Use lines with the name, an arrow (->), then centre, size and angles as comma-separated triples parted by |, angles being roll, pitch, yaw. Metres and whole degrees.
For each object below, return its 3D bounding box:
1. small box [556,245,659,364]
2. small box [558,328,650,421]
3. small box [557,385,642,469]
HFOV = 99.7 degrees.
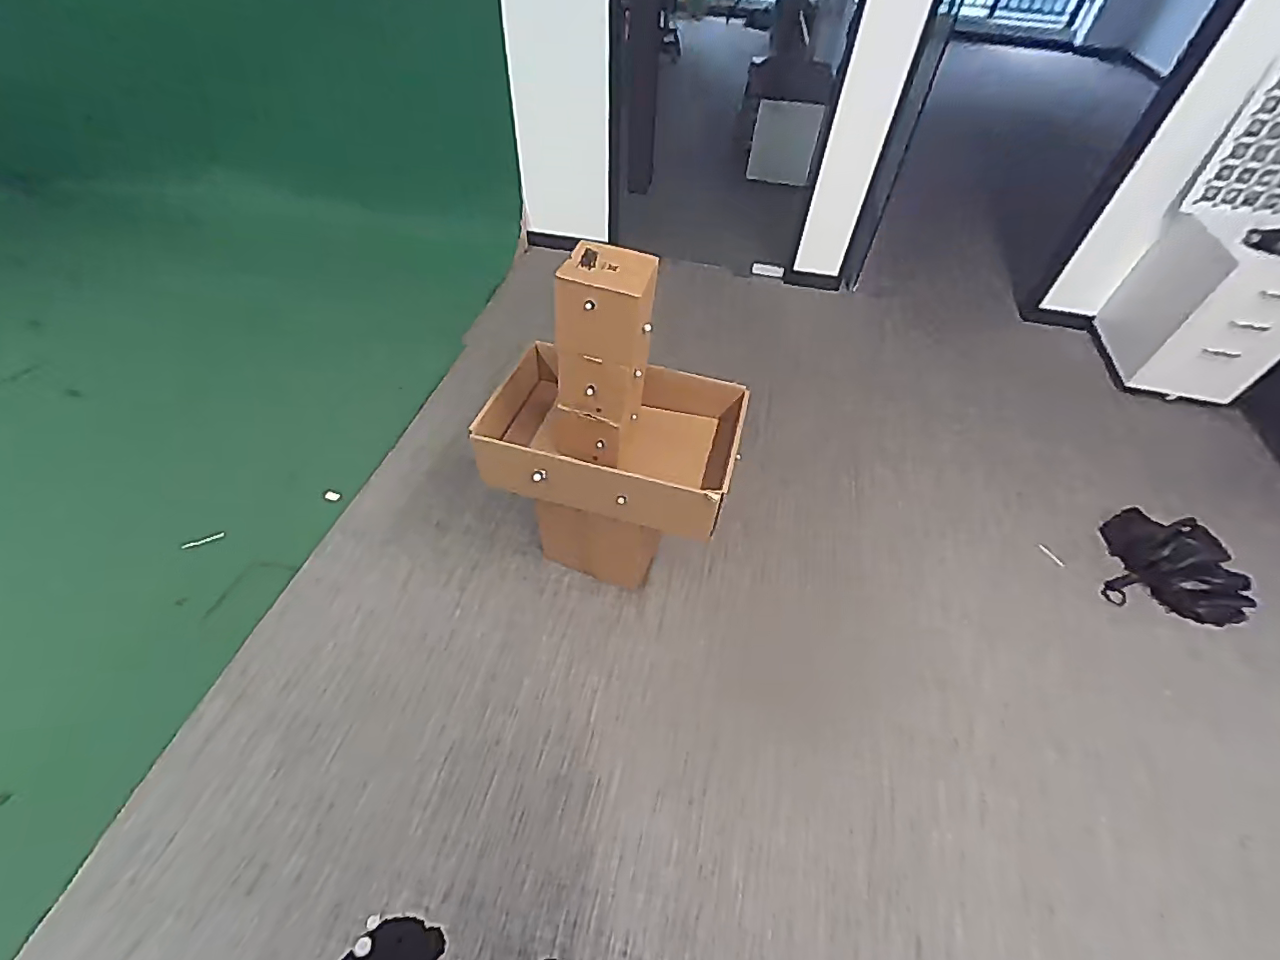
small box -> -0.071, -0.372, 1.157 | 0.179, 0.176, 0.168 | 15, 50, 4
small box -> -0.084, -0.267, 1.284 | 0.168, 0.176, 0.179 | 17, 51, 7
small box -> -0.103, -0.155, 1.402 | 0.168, 0.176, 0.179 | 17, 48, 7
